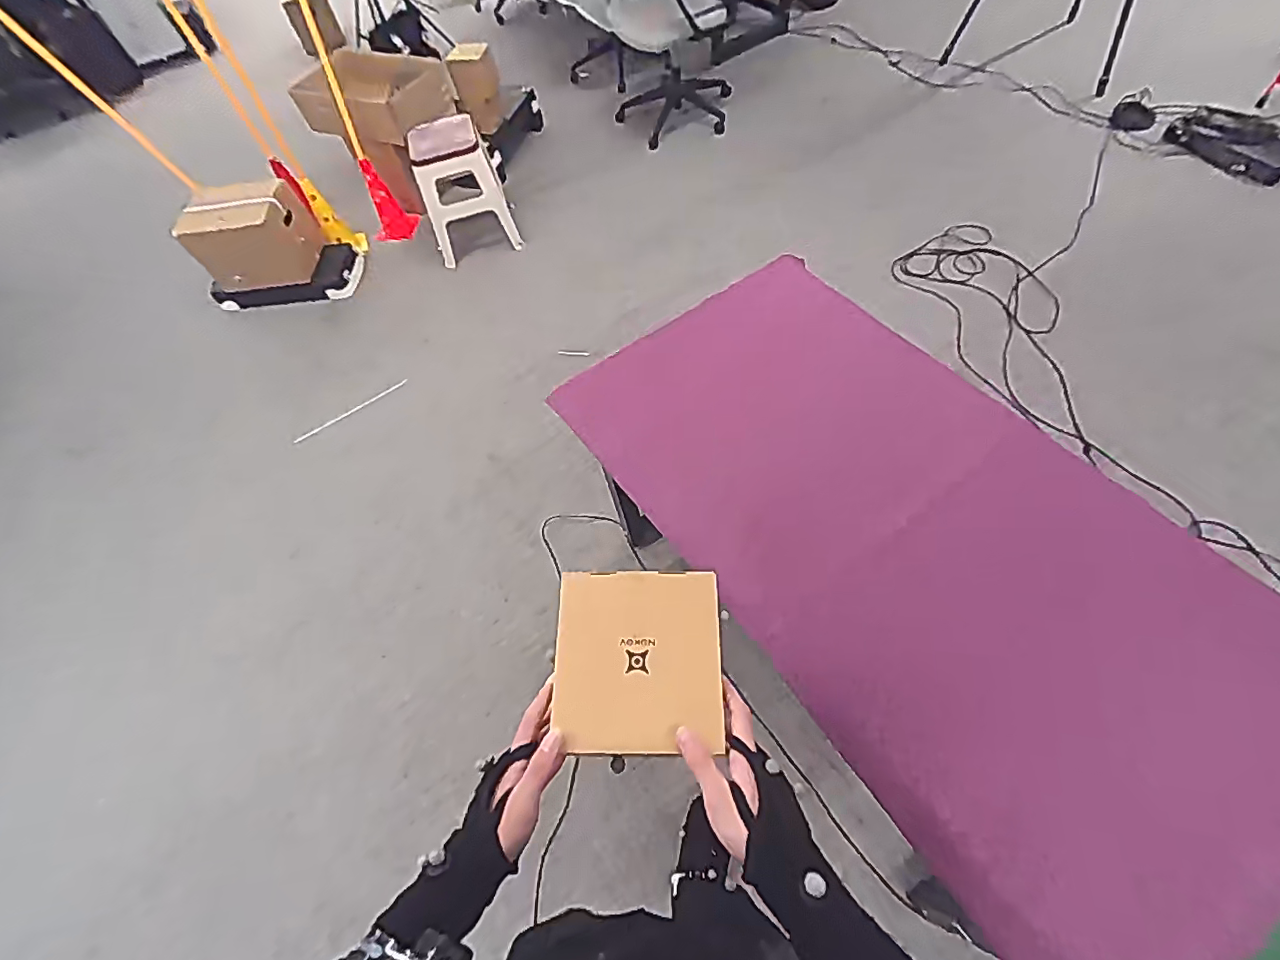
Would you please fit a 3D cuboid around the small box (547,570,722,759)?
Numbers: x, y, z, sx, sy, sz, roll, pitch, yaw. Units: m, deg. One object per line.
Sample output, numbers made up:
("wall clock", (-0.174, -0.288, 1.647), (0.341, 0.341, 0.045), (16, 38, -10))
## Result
("small box", (0.001, 0.211, 0.602), (0.168, 0.176, 0.179), (0, 60, 2))
